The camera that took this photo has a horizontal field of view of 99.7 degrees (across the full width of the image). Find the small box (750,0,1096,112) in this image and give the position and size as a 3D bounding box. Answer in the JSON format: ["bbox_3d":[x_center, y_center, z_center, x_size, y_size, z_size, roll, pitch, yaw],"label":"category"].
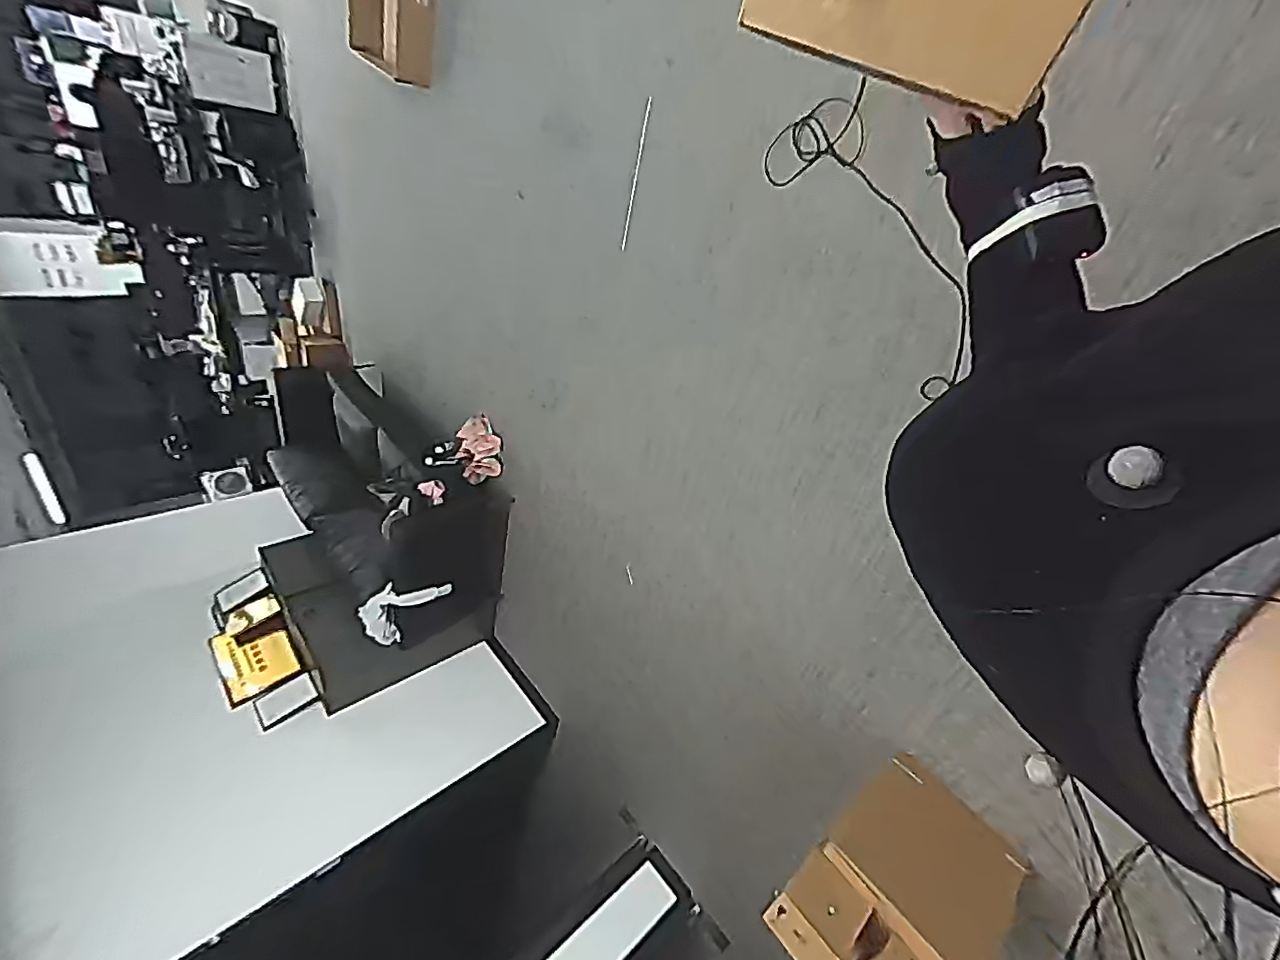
[{"bbox_3d":[0.188,-0.352,0.315,0.179,0.168,0.176,23,138,5],"label":"small box"}]
